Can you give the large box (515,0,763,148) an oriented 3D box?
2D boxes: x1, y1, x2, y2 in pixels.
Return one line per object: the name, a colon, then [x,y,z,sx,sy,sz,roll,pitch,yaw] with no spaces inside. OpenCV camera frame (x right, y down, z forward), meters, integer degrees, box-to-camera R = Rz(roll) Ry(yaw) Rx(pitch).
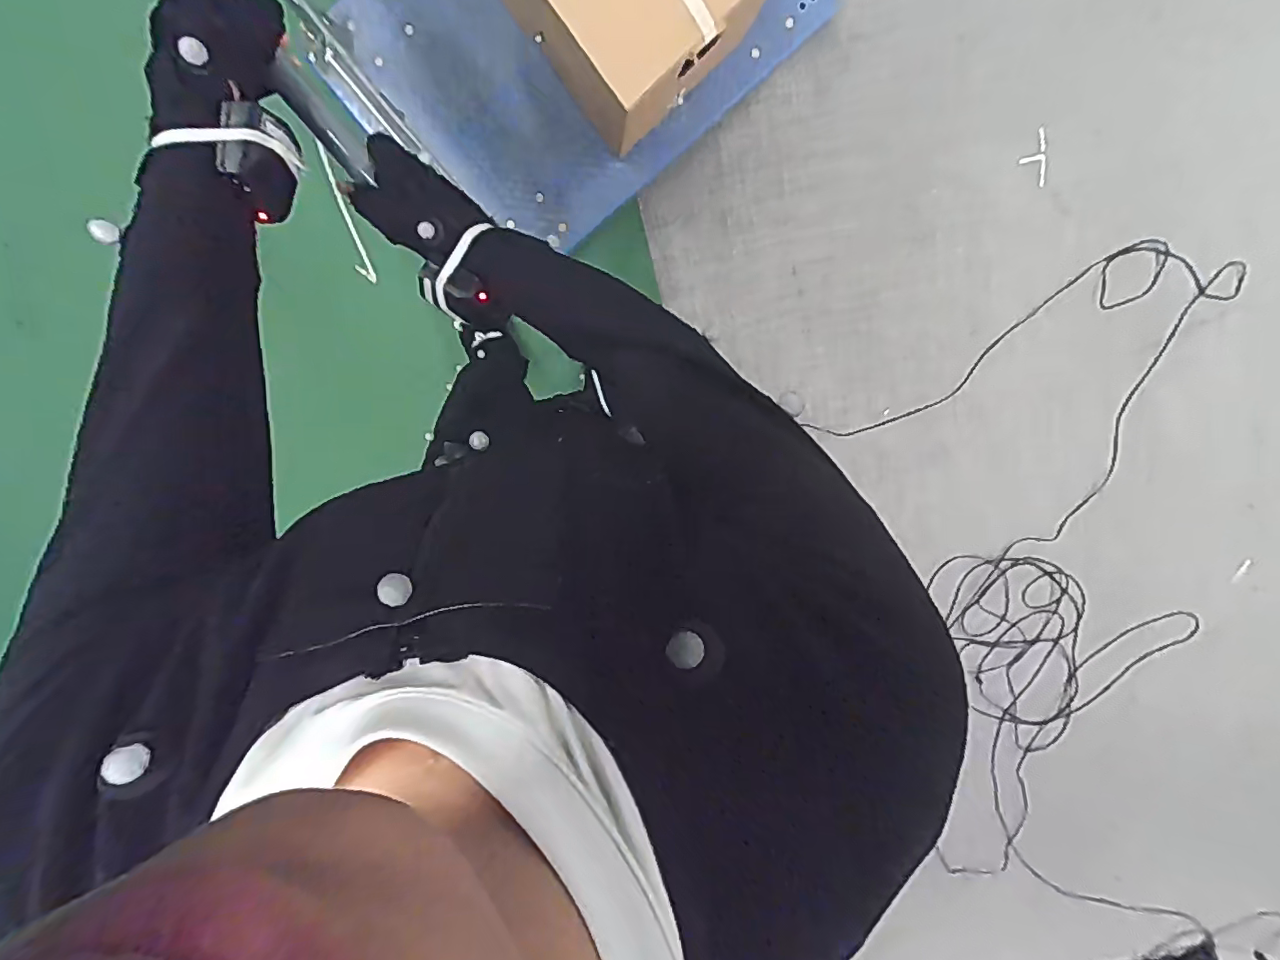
large box: [-0.031,-0.848,0.870,0.320,0.320,0.408,-39,108,9]
